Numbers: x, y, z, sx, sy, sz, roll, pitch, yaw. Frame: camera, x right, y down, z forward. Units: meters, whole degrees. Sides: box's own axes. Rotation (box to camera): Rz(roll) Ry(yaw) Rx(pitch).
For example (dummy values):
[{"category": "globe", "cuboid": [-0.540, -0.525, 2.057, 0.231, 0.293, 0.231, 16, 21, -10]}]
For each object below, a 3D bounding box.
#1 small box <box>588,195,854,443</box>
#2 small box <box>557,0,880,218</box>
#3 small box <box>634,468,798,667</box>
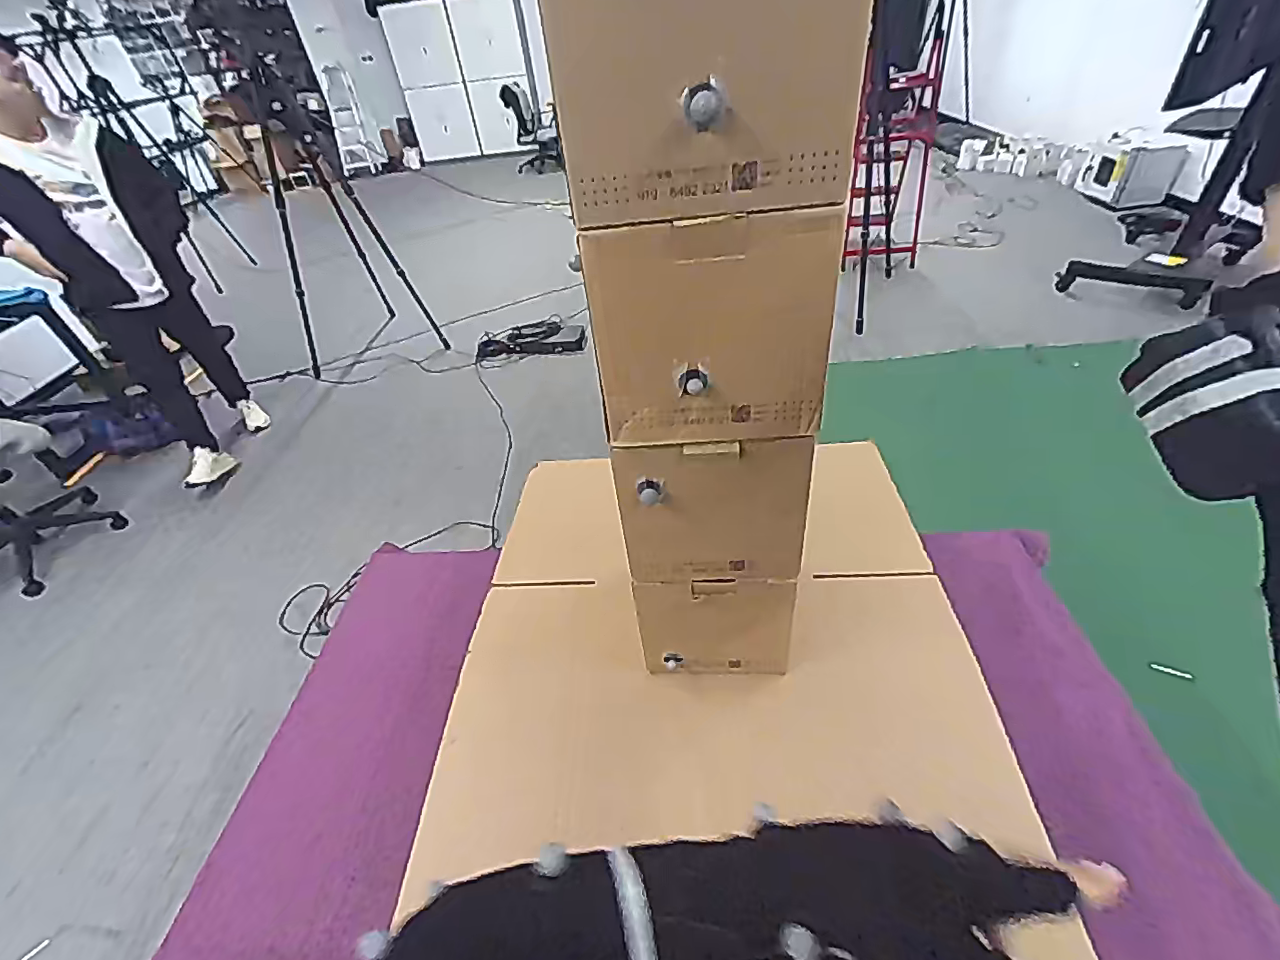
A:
[{"category": "small box", "cuboid": [0.056, -0.148, 0.443, 0.168, 0.176, 0.179, -3, 39, 4]}, {"category": "small box", "cuboid": [0.041, -0.277, 0.342, 0.168, 0.176, 0.179, -3, 39, 5]}, {"category": "small box", "cuboid": [0.086, 0.109, 0.645, 0.168, 0.176, 0.179, -4, 41, 4]}]
